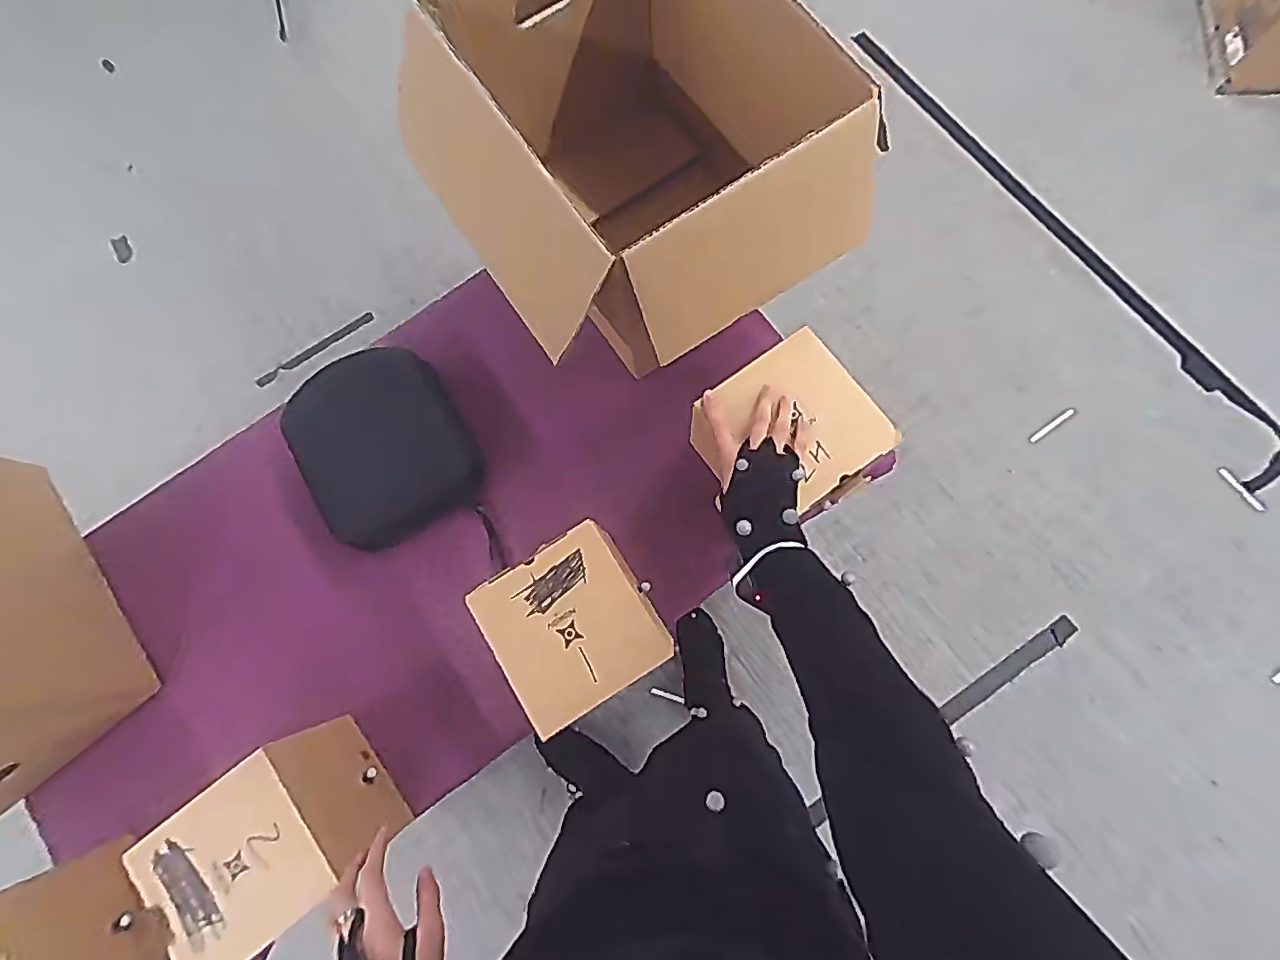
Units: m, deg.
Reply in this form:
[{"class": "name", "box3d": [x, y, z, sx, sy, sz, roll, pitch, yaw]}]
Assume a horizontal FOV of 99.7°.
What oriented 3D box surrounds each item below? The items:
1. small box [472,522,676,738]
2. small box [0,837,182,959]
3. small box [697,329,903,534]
[{"class": "small box", "box3d": [-0.071, 0.174, 0.661, 0.168, 0.176, 0.179, -32, 79, -3]}, {"class": "small box", "box3d": [-0.695, 0.563, 0.618, 0.179, 0.176, 0.168, -36, 79, -5]}, {"class": "small box", "box3d": [0.184, -0.049, 0.689, 0.168, 0.176, 0.179, -35, 78, -3]}]
